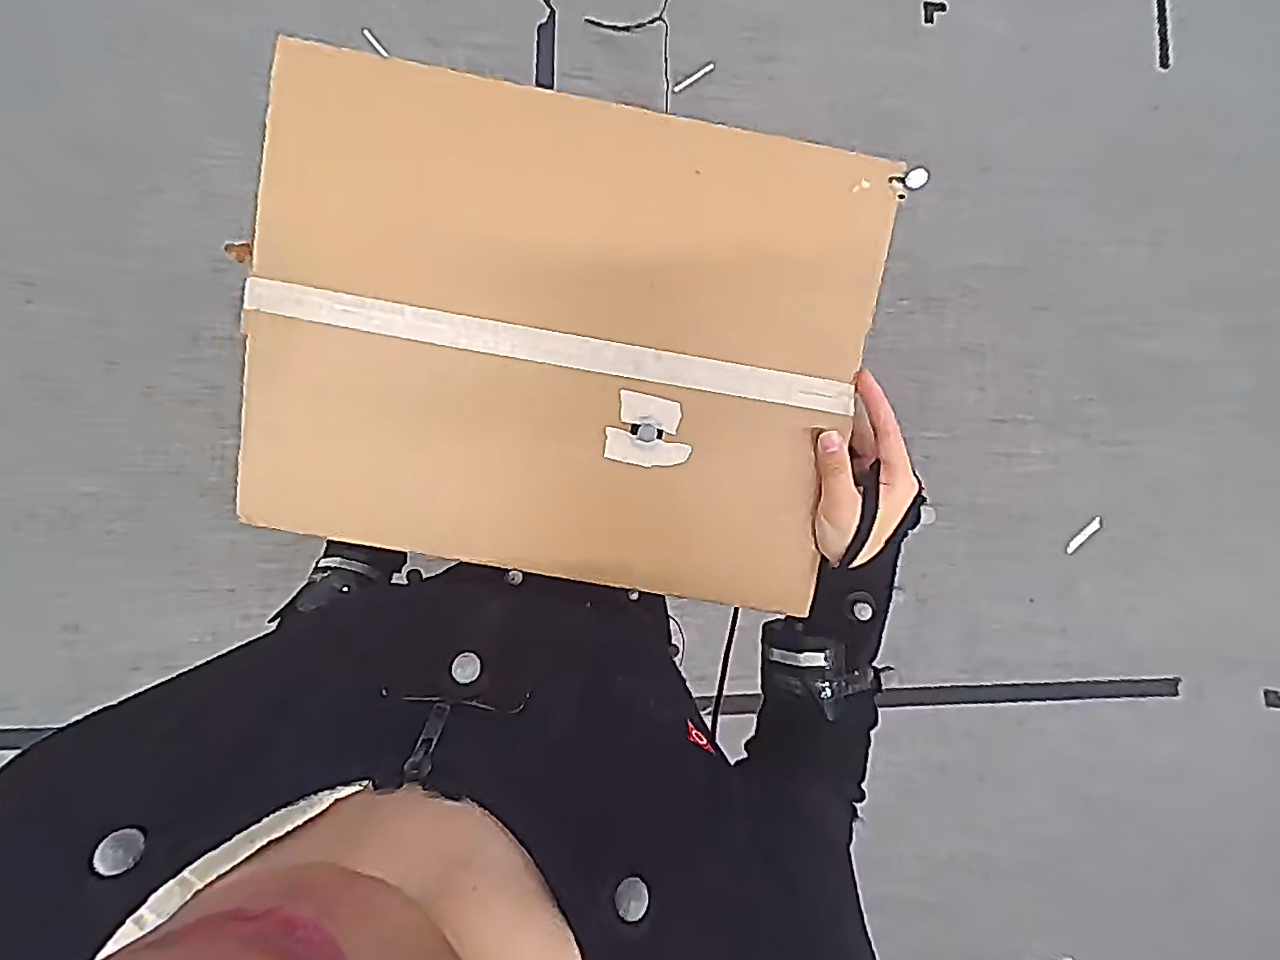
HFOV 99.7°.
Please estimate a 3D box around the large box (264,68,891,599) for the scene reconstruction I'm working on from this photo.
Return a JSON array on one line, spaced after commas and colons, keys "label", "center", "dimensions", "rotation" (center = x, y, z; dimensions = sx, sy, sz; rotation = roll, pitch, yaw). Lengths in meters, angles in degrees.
[{"label": "large box", "center": [-0.054, -0.106, 0.519], "dimensions": [0.408, 0.320, 0.320], "rotation": [9, 98, -3]}]
